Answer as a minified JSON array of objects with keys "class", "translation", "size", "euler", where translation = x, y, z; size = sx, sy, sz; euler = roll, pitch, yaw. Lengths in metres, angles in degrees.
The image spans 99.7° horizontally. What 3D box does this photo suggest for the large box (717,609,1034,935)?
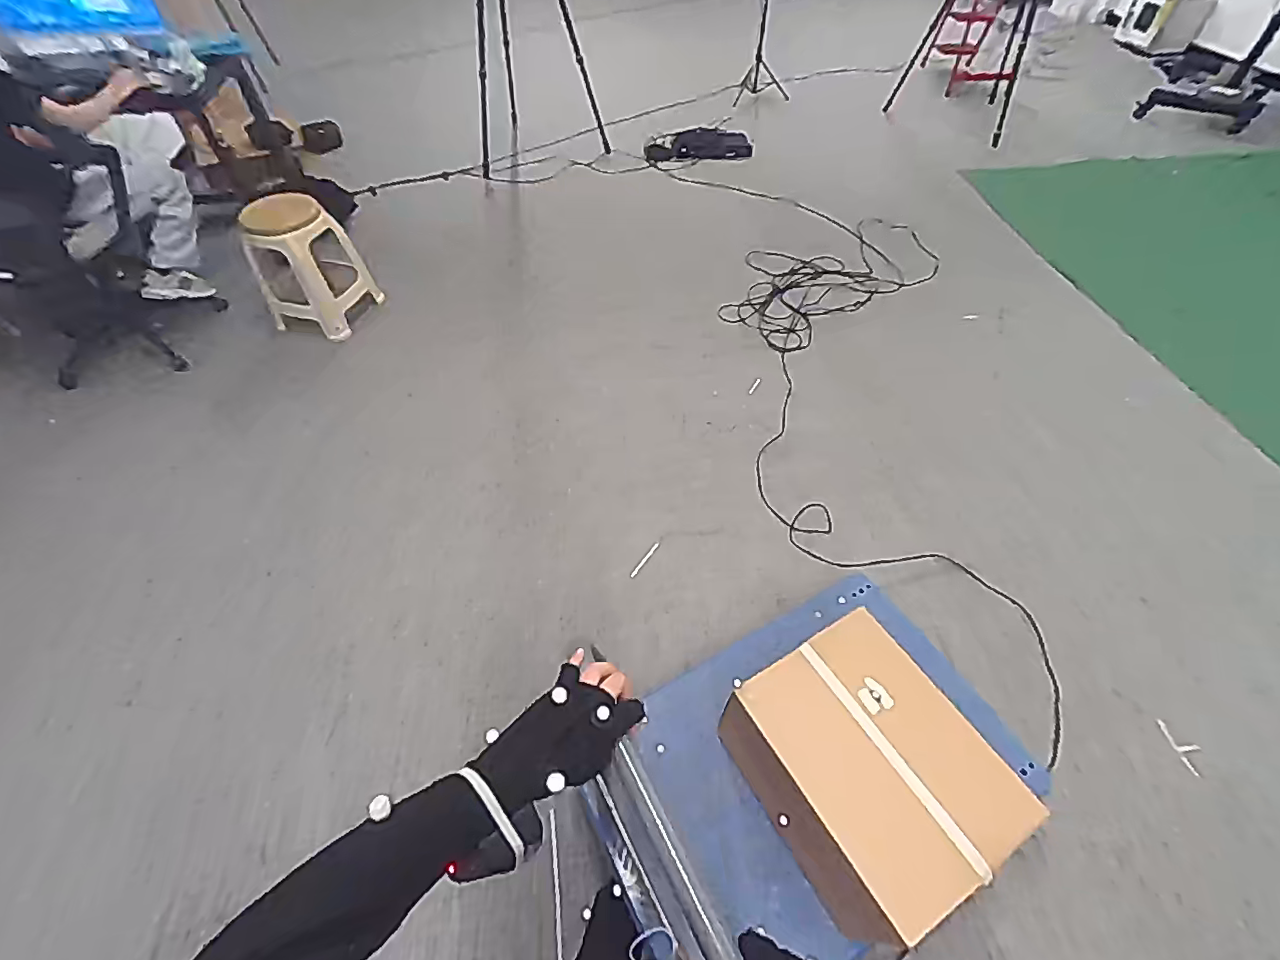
[{"class":"large box","translation":[0.392,0.534,1.019],"size":[0.320,0.320,0.408],"euler":[-25,55,-18]}]
